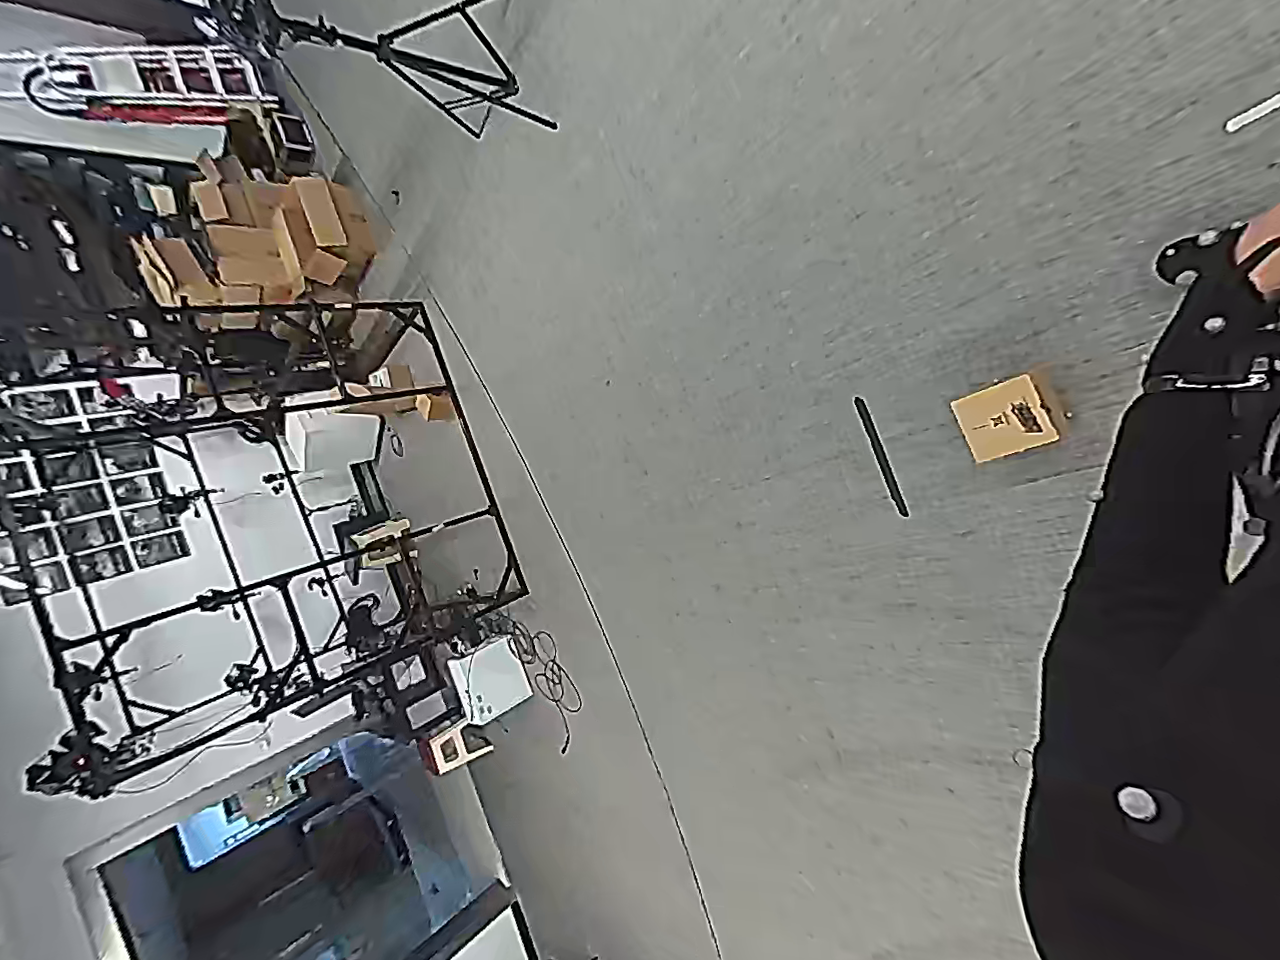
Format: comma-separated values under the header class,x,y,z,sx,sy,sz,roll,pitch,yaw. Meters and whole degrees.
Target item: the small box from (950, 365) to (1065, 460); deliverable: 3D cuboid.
class,x,y,z,sx,sy,sz,roll,pitch,yaw
small box,0.899,-0.167,1.315,0.179,0.176,0.168,-26,85,49
